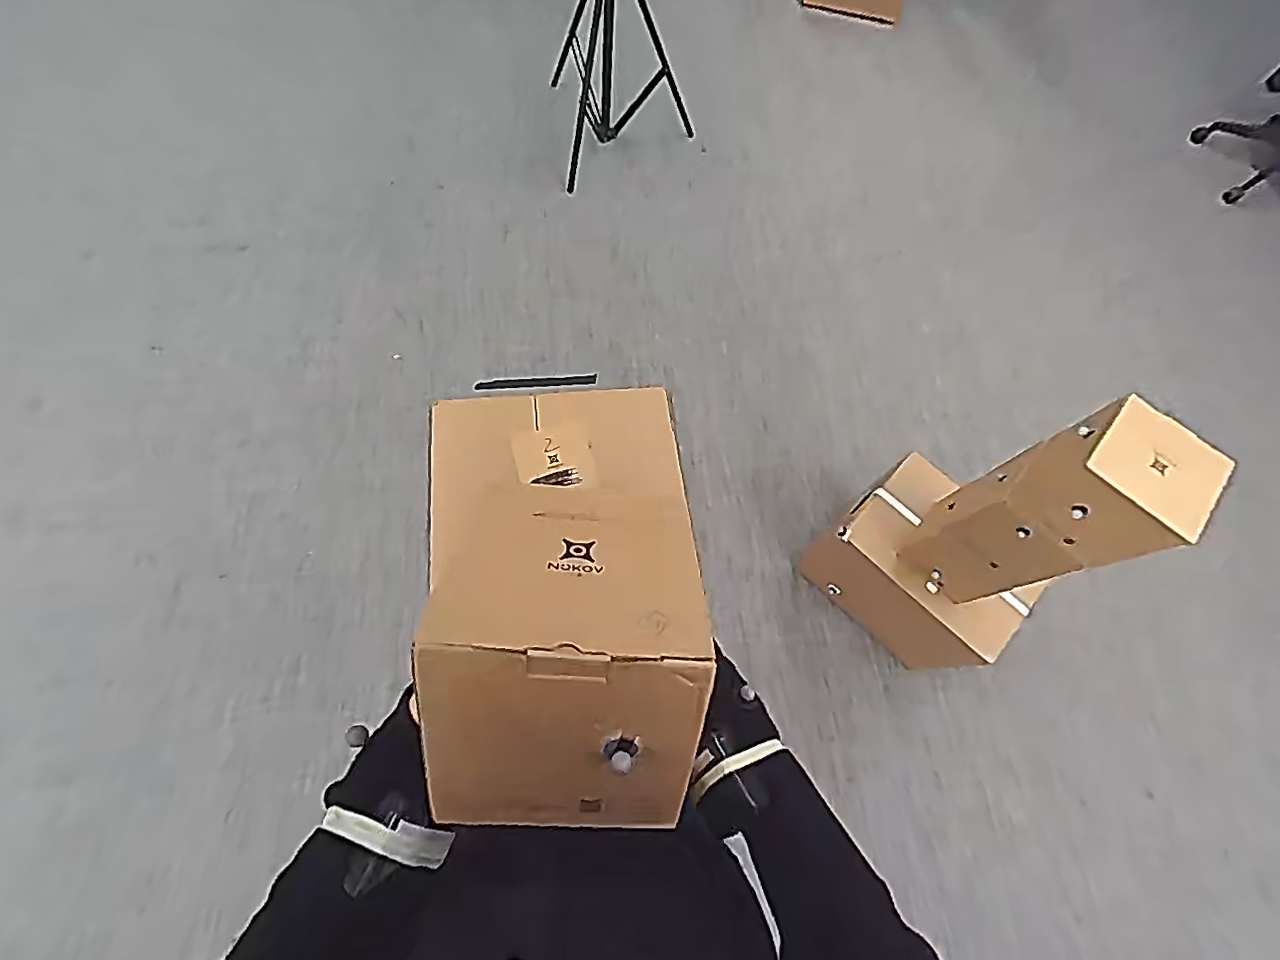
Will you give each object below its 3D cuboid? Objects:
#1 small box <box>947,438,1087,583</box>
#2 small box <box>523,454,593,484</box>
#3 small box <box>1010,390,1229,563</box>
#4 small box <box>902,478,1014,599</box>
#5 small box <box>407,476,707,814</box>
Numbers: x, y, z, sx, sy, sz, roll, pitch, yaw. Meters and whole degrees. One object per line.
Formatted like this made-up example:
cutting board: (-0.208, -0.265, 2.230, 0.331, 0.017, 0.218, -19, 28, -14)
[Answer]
small box: (0.711, 0.062, 0.993, 0.168, 0.176, 0.179, 42, 69, 12)
small box: (-0.202, 0.056, 1.410, 0.168, 0.176, 0.179, -13, 70, -8)
small box: (0.727, 0.003, 0.841, 0.168, 0.176, 0.179, 42, 70, 12)
small box: (0.694, 0.127, 1.143, 0.168, 0.176, 0.179, 42, 70, 12)
small box: (-0.054, 0.115, 0.401, 0.168, 0.176, 0.179, 5, 28, -5)
